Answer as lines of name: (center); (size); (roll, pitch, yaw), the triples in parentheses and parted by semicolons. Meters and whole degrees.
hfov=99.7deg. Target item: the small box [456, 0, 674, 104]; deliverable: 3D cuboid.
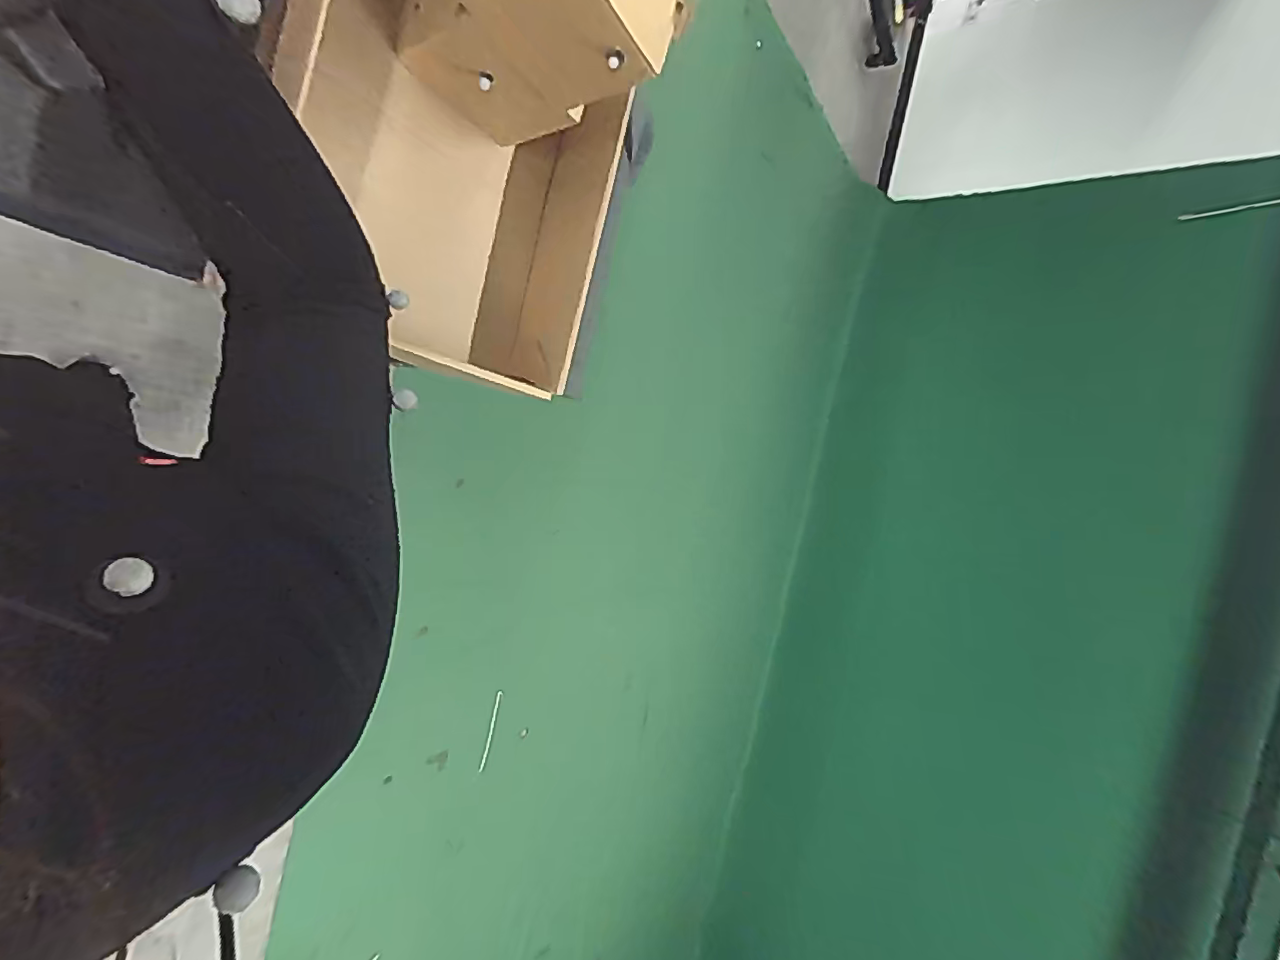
small box: (-0.079, -0.551, 0.581); (0.179, 0.176, 0.168); (24, 83, -52)
